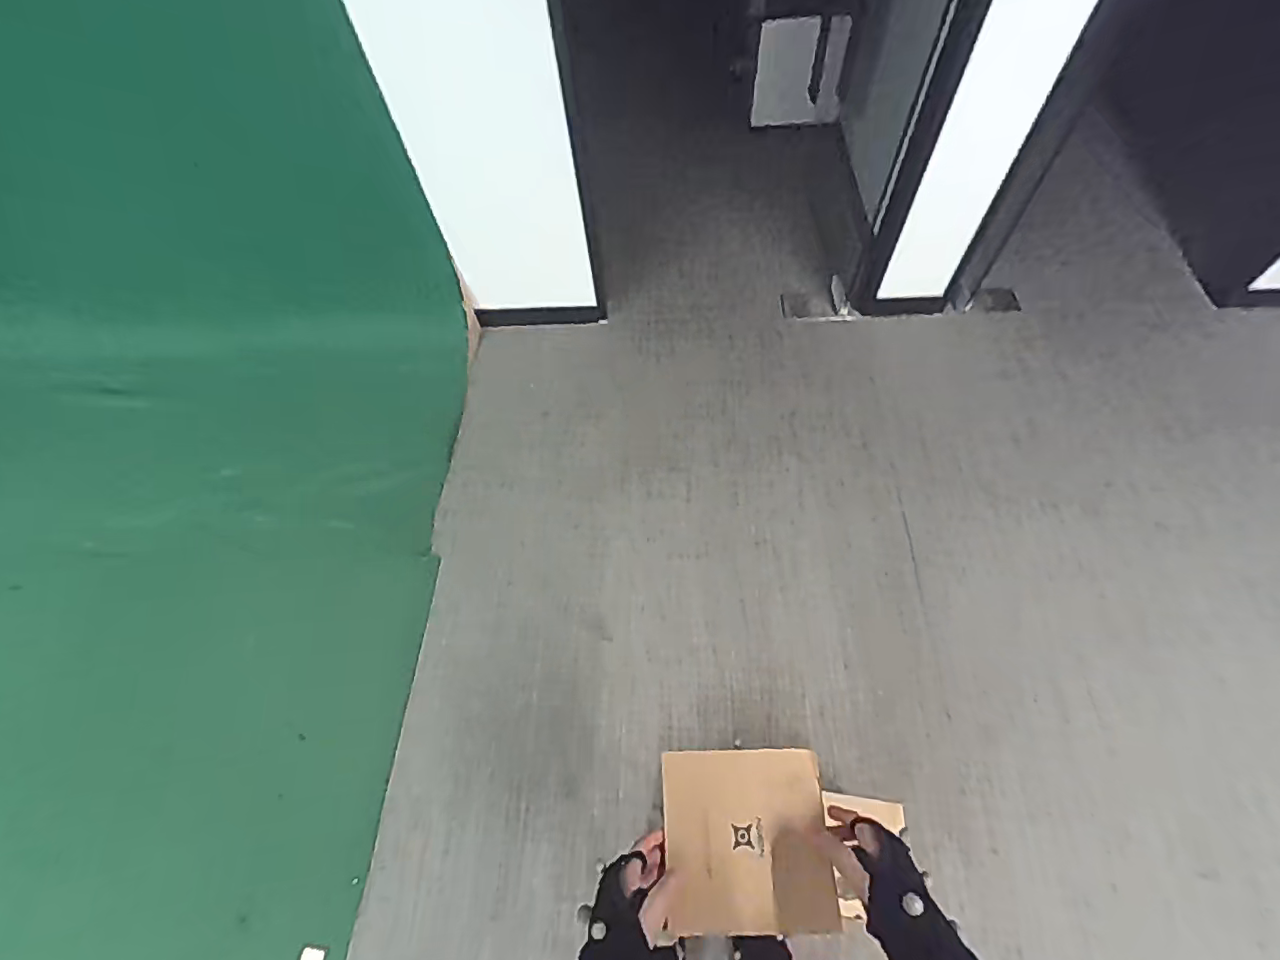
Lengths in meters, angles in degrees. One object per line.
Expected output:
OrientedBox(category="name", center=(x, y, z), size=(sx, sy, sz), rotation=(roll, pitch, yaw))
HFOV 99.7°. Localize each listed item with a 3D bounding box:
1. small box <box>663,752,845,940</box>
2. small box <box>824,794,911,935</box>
OrientedBox(category="small box", center=(0.117, 0.415, 0.634), size=(0.179, 0.176, 0.168), rotation=(-3, 59, 3))
OrientedBox(category="small box", center=(0.365, 0.668, 0.965), size=(0.168, 0.176, 0.179), rotation=(6, 61, 8))
